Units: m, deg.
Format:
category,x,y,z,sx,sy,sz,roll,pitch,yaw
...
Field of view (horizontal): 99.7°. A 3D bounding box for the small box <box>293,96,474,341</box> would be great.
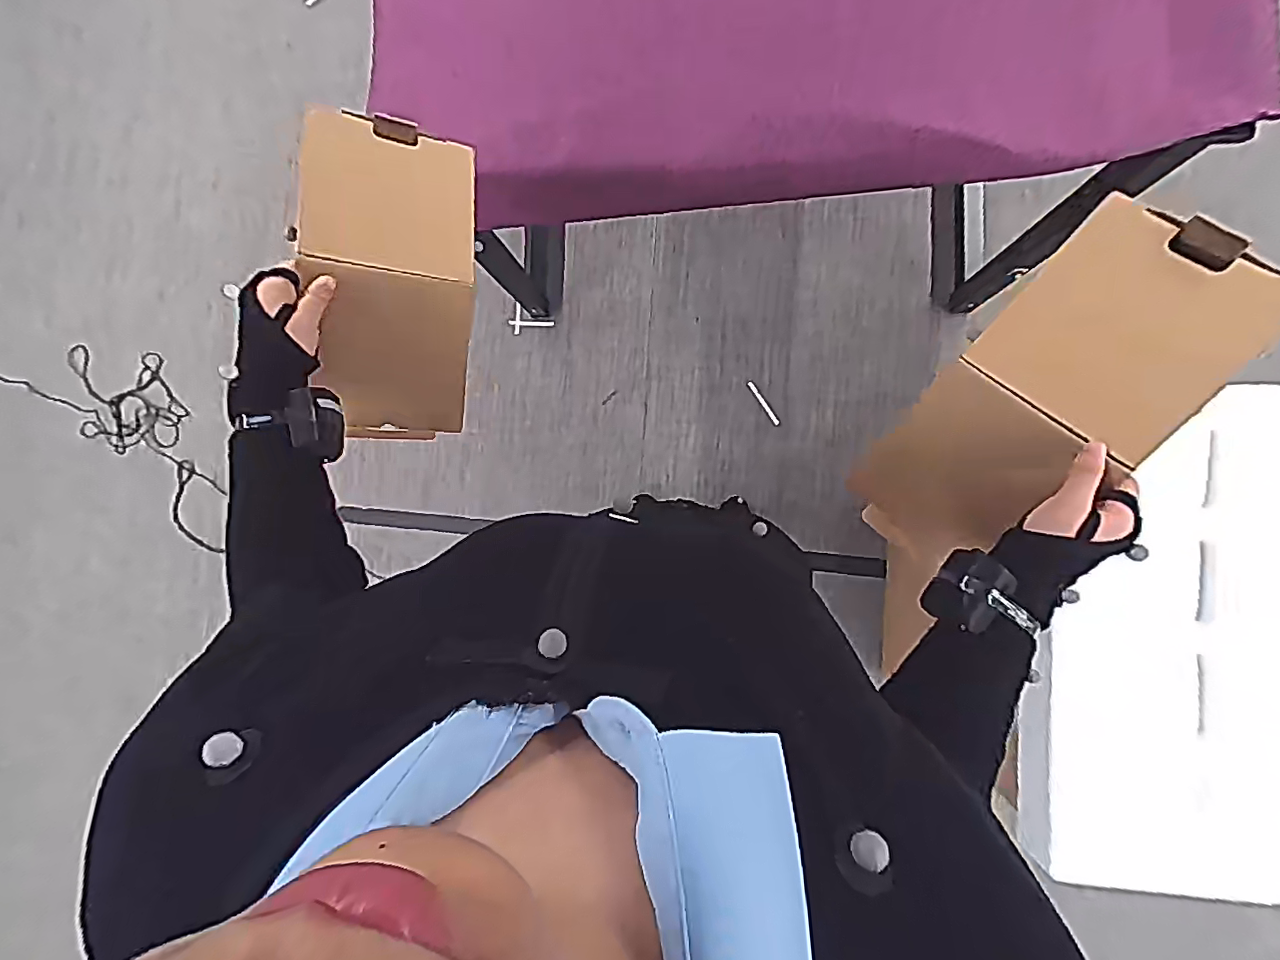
category,x,y,z,sx,sy,sz,roll,pitch,yaw
small box,-0.296,-0.284,0.634,0.168,0.176,0.179,3,77,-28
